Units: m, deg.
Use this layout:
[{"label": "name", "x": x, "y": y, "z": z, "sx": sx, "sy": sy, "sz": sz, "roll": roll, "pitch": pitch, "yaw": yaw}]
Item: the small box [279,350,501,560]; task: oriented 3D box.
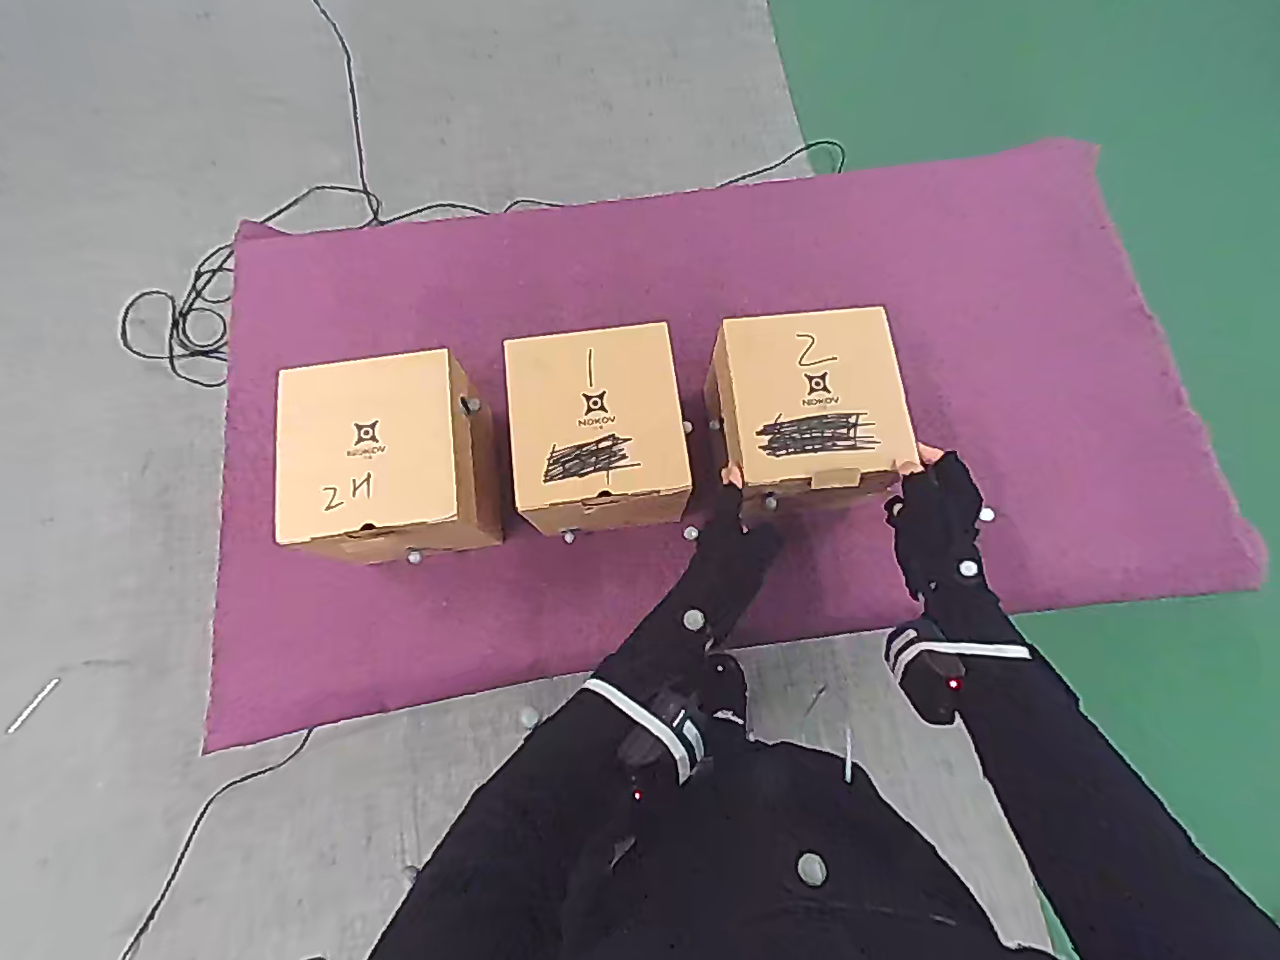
[{"label": "small box", "x": -0.258, "y": -0.017, "z": 0.592, "sx": 0.168, "sy": 0.176, "sz": 0.179, "roll": -8, "pitch": 76, "yaw": -2}]
